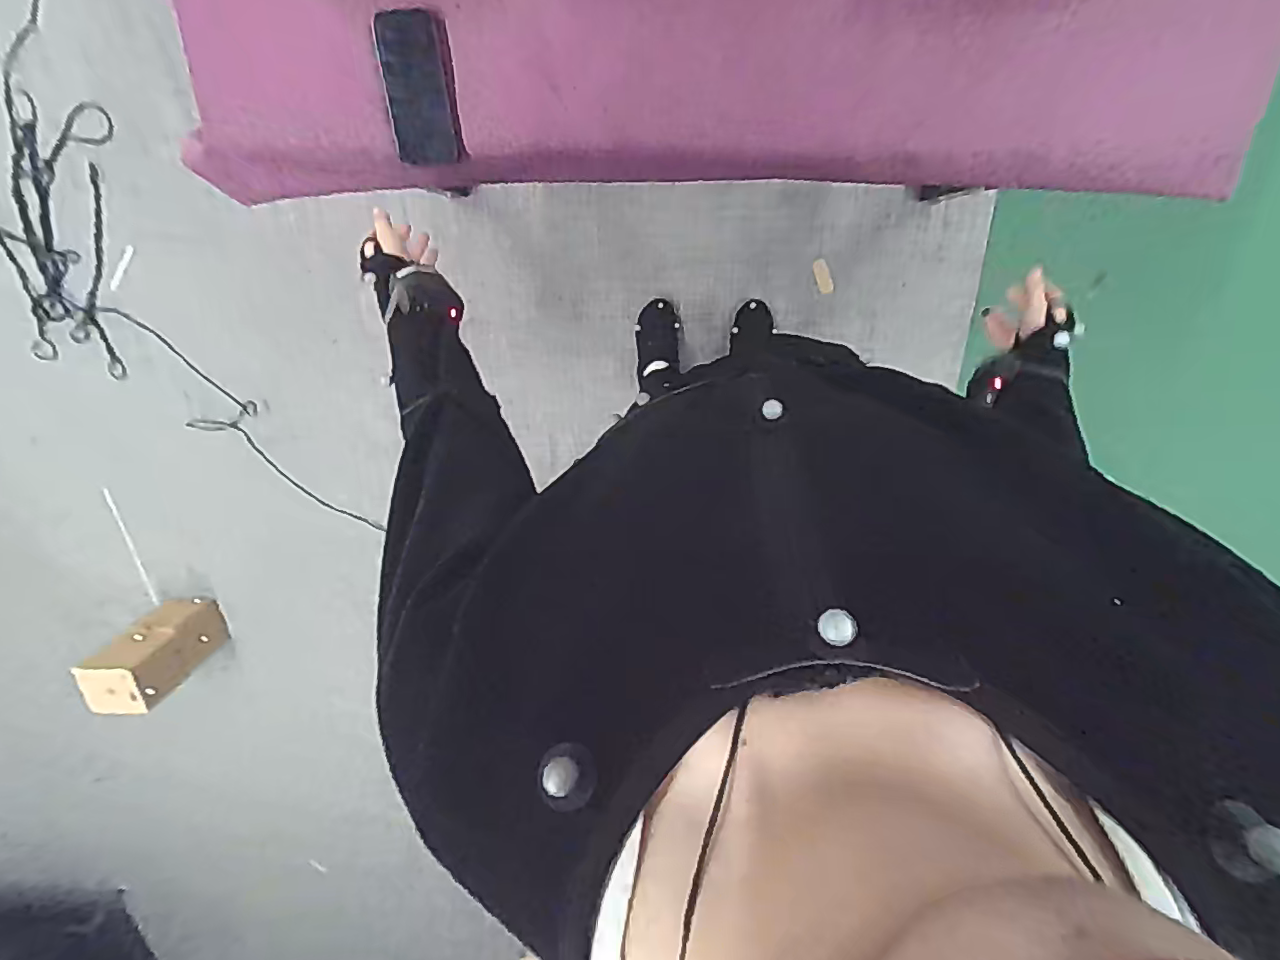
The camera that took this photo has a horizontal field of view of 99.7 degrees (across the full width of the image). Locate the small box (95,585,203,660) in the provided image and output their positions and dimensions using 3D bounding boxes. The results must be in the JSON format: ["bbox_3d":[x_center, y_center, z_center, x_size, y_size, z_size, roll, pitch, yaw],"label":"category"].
[{"bbox_3d":[-1.567,0.453,1.737,0.168,0.176,0.179,2,113,3],"label":"small box"}]

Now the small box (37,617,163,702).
[{"bbox_3d":[-1.573,0.520,1.587,0.179,0.176,0.168,3,113,3],"label":"small box"}]
